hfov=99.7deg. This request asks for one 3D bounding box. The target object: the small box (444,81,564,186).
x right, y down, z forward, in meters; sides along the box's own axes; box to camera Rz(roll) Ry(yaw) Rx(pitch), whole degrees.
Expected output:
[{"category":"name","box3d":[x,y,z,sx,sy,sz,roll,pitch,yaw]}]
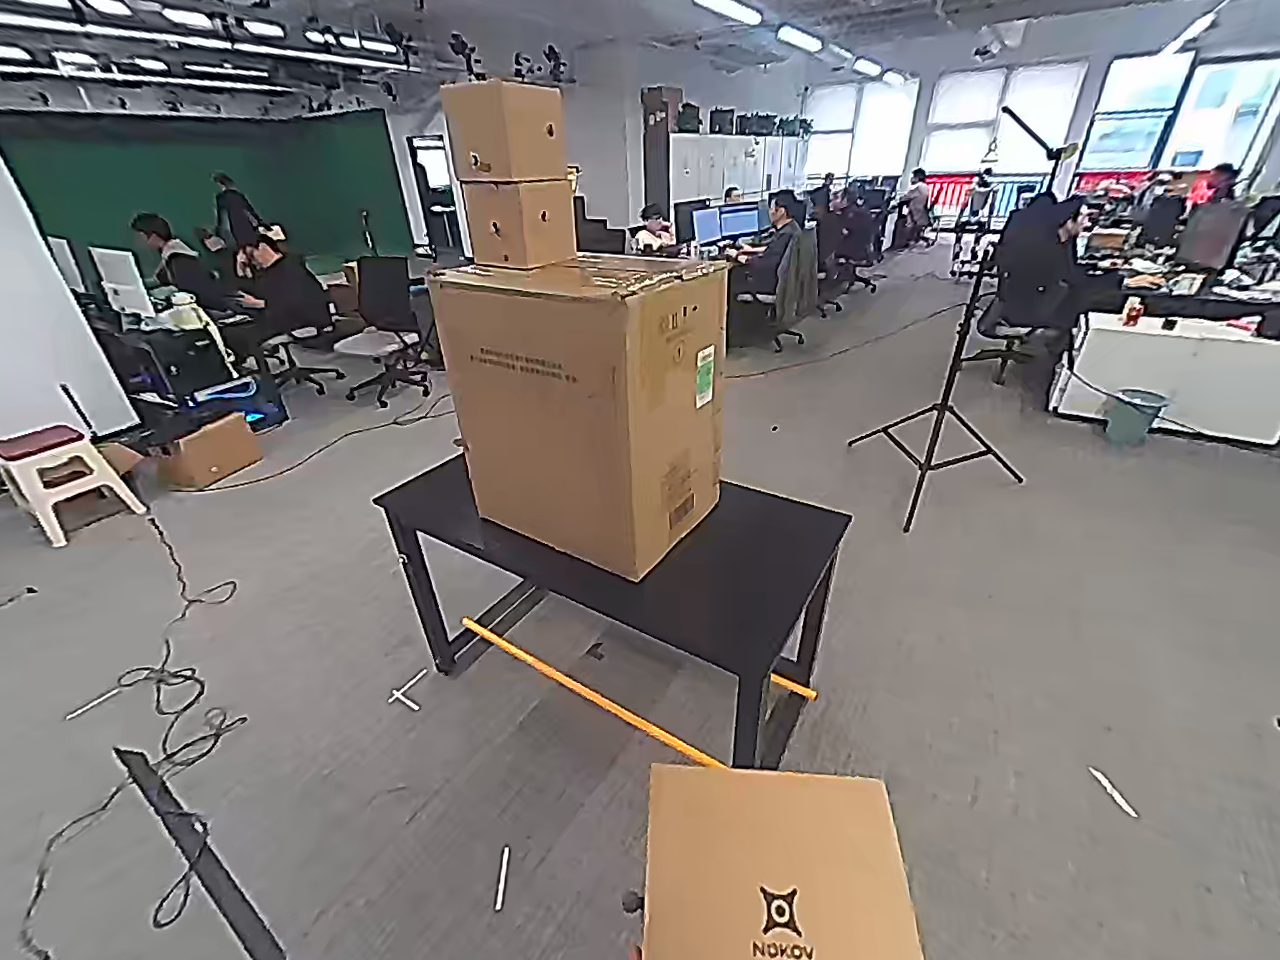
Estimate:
[{"category":"small box","box3d":[-0.273,-0.713,1.125,0.168,0.176,0.179,15,34,28]}]

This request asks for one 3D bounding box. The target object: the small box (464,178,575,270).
[{"category":"small box","box3d":[-0.261,-0.577,1.216,0.168,0.176,0.179,17,35,28]}]
